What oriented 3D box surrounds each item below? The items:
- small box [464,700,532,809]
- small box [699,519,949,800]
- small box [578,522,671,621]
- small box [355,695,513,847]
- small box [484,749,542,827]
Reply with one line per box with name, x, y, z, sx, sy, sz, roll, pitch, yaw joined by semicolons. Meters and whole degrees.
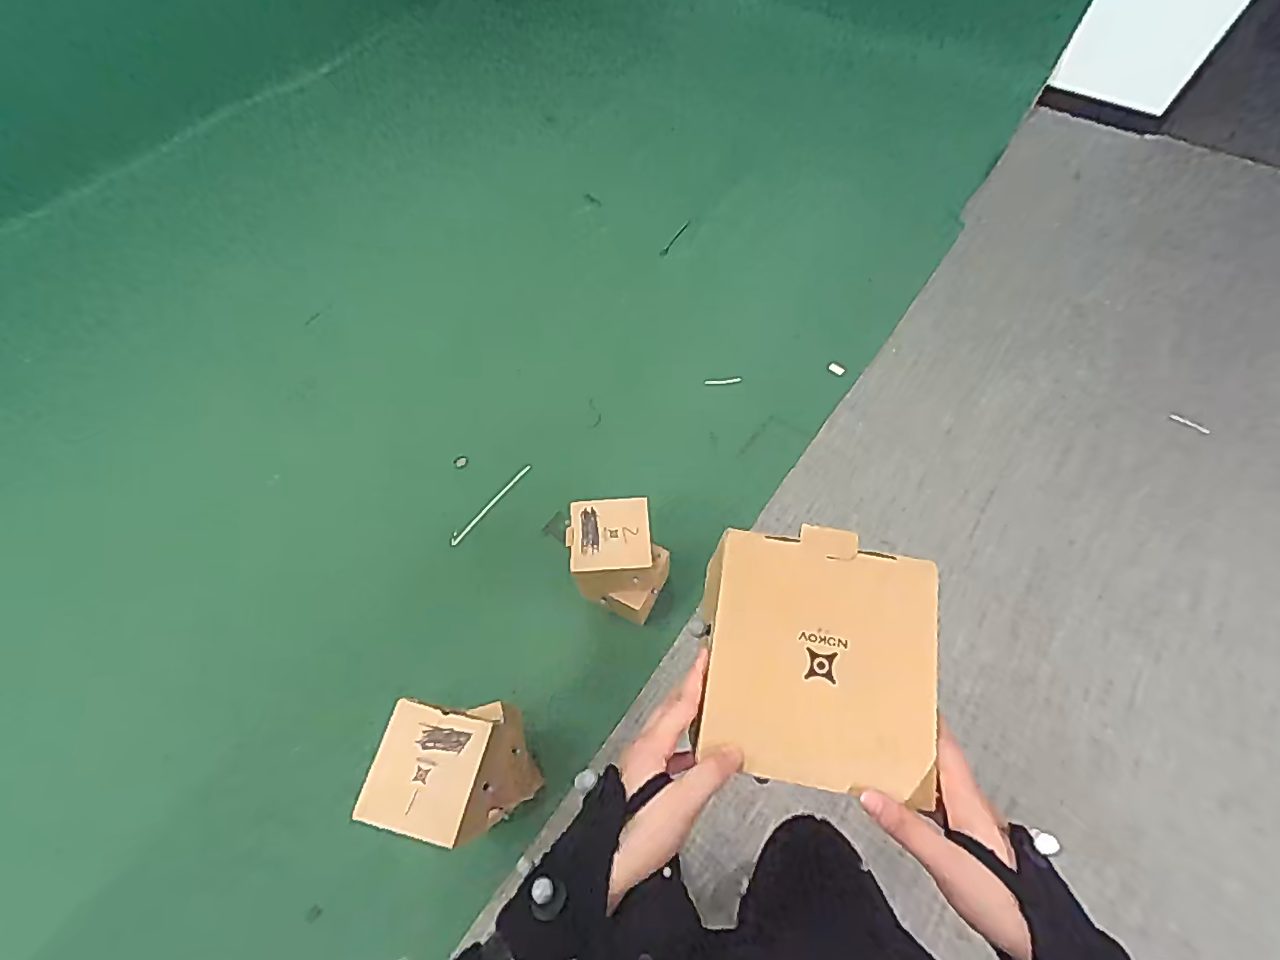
small box;-0.315;0.544;1.046;0.168;0.176;0.179;-14;63;-7
small box;0.146;0.150;0.475;0.168;0.176;0.179;9;72;5
small box;-0.035;0.238;1.377;0.179;0.176;0.168;24;66;14
small box;-0.324;0.474;0.897;0.168;0.176;0.179;12;65;7
small box;-0.334;0.637;1.181;0.168;0.176;0.179;-34;66;-15
